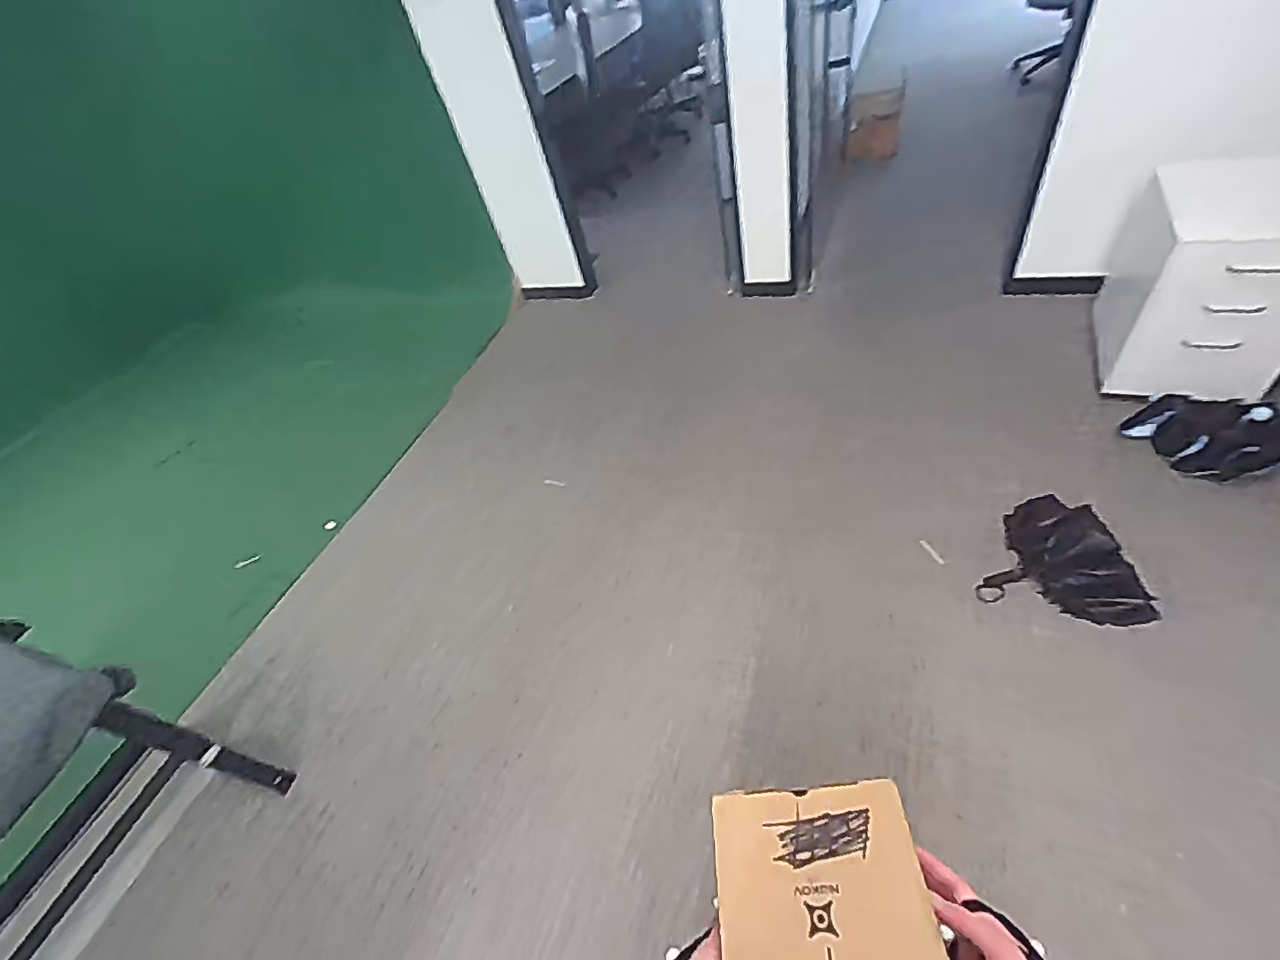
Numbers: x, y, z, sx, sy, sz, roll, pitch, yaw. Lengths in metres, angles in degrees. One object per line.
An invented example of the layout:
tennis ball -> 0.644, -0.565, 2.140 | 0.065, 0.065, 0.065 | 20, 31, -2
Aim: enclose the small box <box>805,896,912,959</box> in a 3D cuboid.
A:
small box -> 0.420, 0.975, 1.071 | 0.168, 0.176, 0.179 | 17, 55, 30
